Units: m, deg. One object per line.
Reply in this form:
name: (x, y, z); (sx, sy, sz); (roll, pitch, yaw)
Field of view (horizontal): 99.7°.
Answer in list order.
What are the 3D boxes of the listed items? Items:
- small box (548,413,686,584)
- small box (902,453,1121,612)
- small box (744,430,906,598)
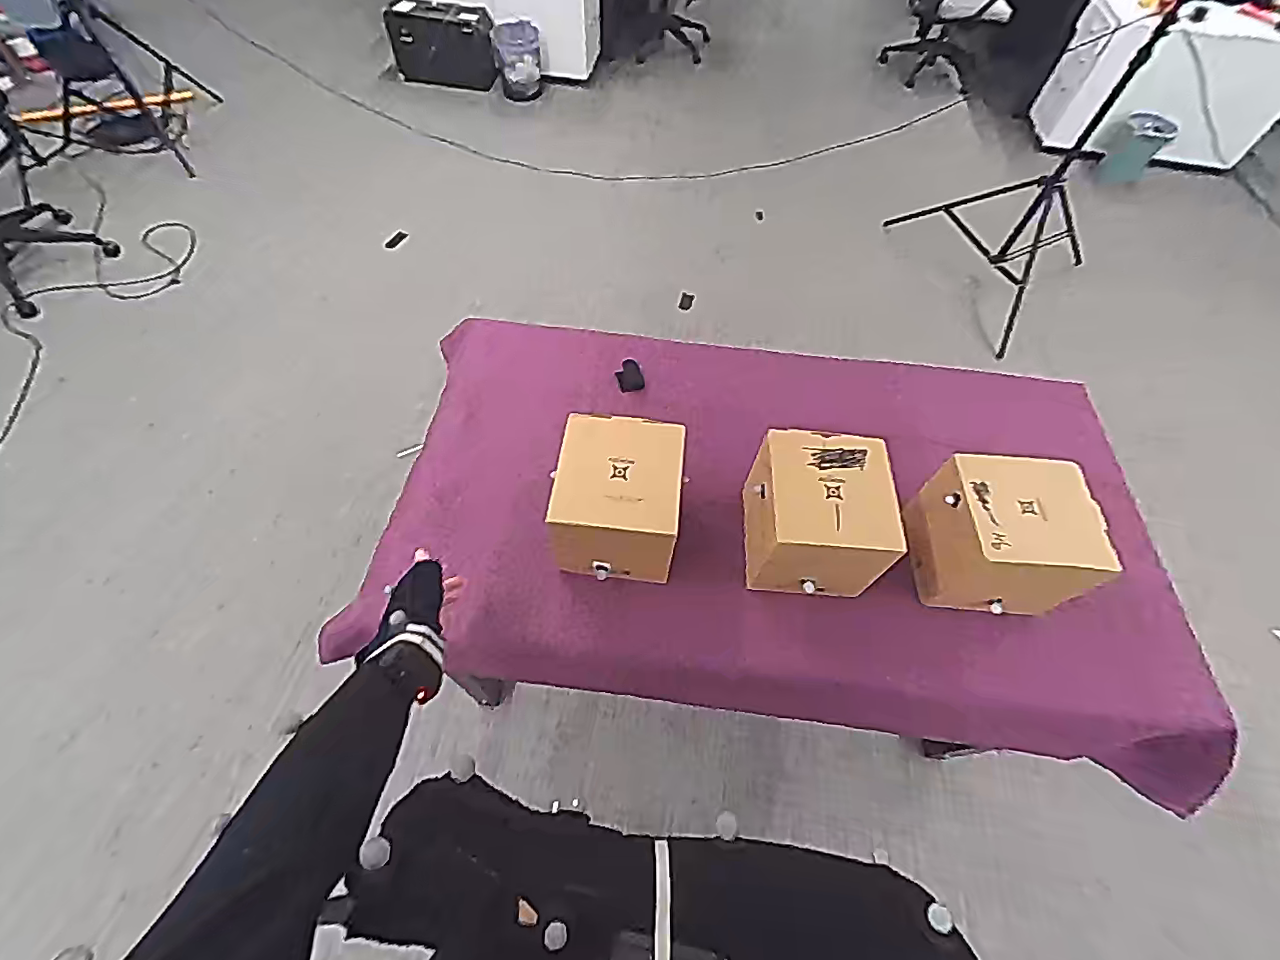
small box: (-0.029, 0.030, 0.777); (0.168, 0.176, 0.179); (5, 58, 1)
small box: (0.511, 0.081, 0.776); (0.179, 0.176, 0.168); (5, 57, 0)
small box: (0.249, 0.052, 0.778); (0.168, 0.176, 0.179); (4, 58, 0)
